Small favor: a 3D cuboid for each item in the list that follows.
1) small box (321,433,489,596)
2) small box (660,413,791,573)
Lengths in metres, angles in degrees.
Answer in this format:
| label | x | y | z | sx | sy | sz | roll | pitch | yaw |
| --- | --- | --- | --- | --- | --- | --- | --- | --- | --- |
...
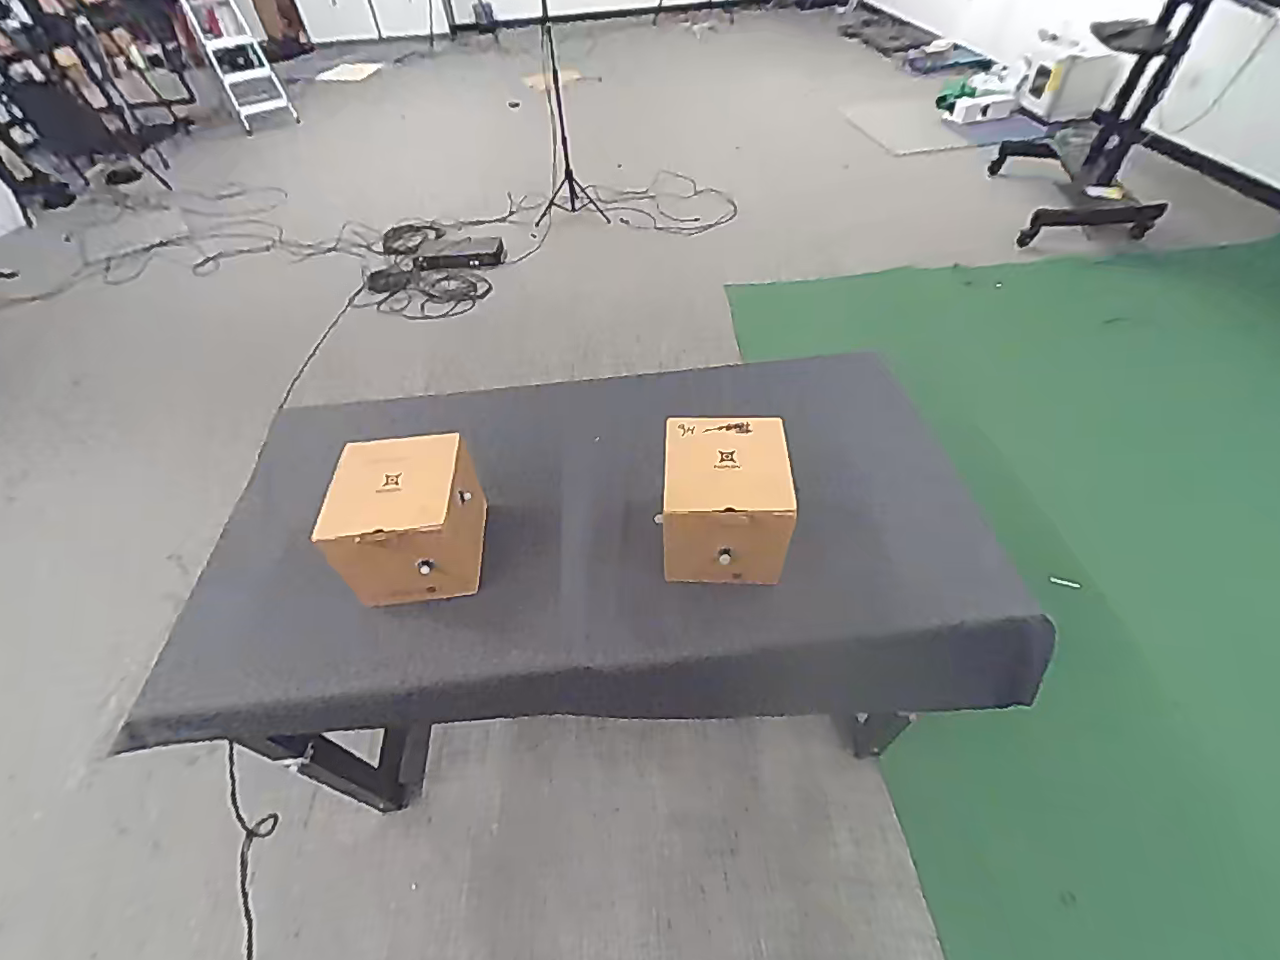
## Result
| label | x | y | z | sx | sy | sz | roll | pitch | yaw |
| --- | --- | --- | --- | --- | --- | --- | --- | --- | --- |
| small box | -0.329 | 0.057 | 0.800 | 0.168 | 0.176 | 0.179 | -7 | 47 | -3 |
| small box | 0.119 | 0.023 | 0.787 | 0.168 | 0.176 | 0.179 | 0 | 50 | 5 |
